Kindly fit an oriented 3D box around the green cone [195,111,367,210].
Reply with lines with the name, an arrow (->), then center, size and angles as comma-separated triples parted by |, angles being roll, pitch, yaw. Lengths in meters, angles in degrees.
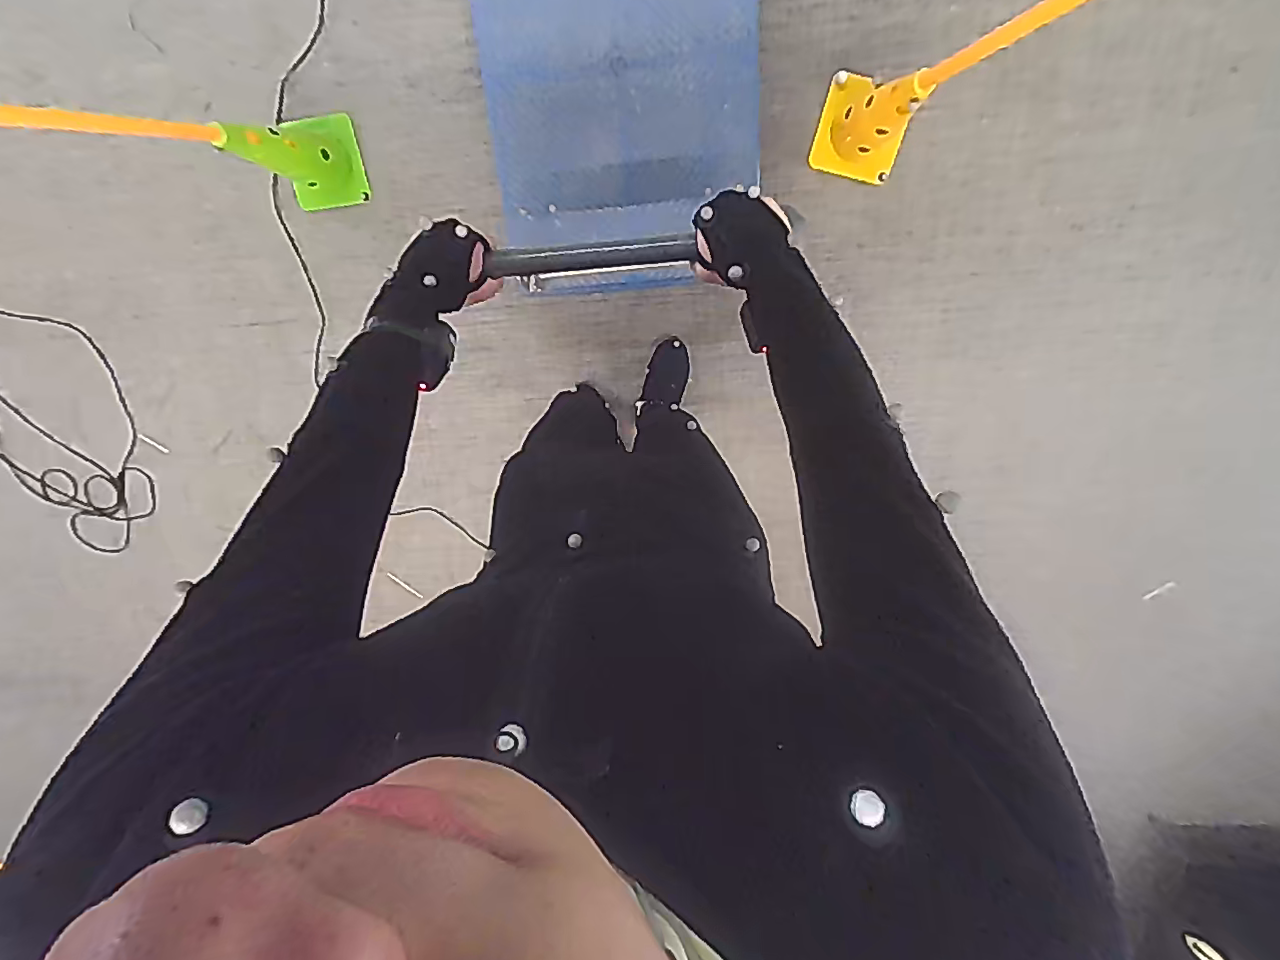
green cone -> -0.823, -0.744, 1.213 | 0.202, 0.368, 0.200 | -5, 111, 8
